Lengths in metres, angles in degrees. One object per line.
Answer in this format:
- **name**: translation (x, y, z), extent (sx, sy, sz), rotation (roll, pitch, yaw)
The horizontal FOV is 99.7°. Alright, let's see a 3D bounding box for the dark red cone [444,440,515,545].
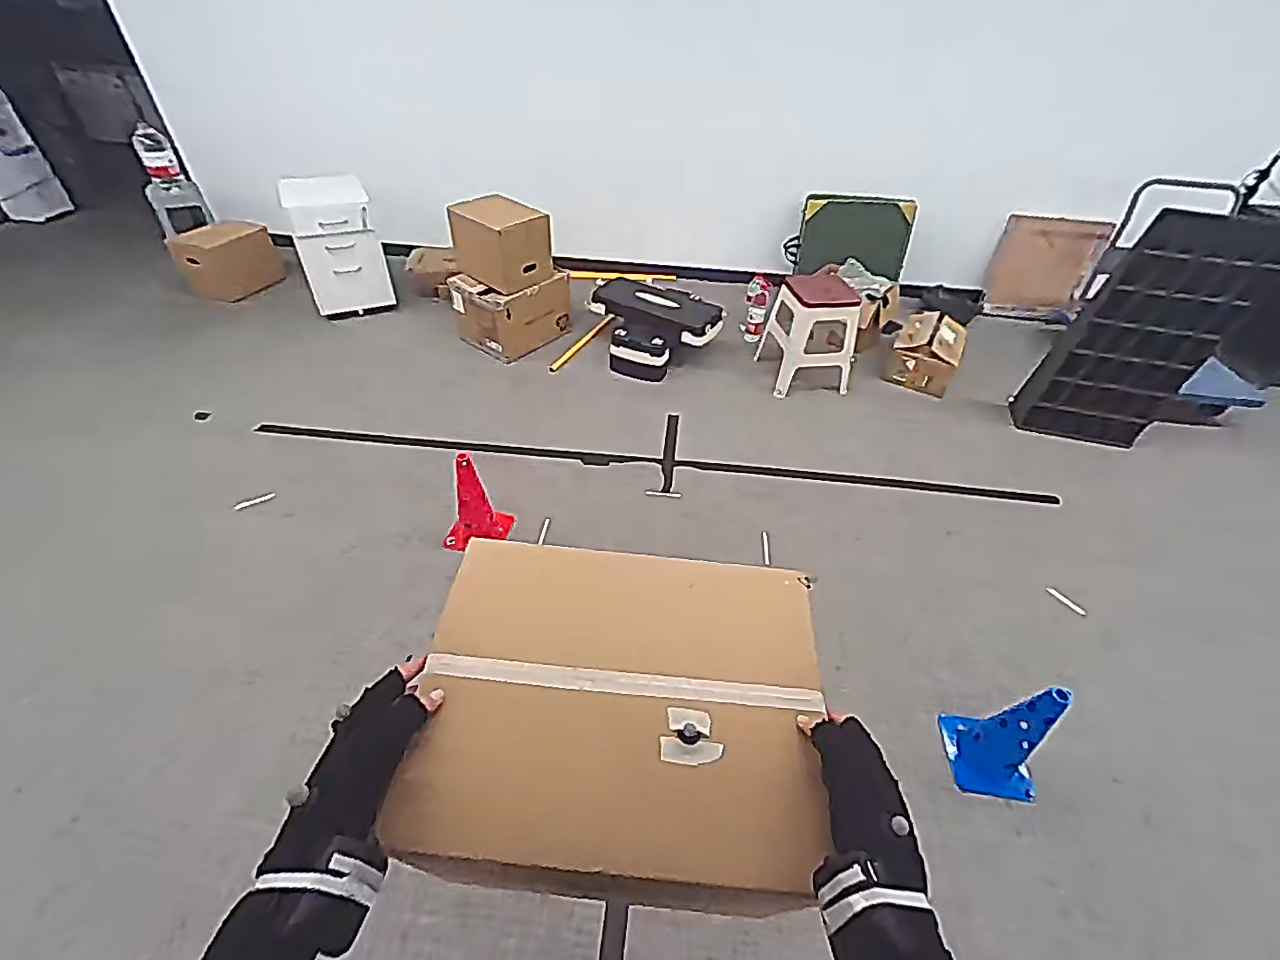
- **dark red cone**: translation (-0.555, 0.033, 1.802), extent (0.201, 0.394, 0.202), rotation (11, 44, 6)

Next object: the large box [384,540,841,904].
- **large box**: translation (-0.024, 0.303, 0.669), extent (0.408, 0.320, 0.320), rotation (7, 49, 1)

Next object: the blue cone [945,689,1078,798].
- **blue cone**: translation (0.938, 0.618, 1.334), extent (0.192, 0.380, 0.193), rotation (9, 43, 4)
